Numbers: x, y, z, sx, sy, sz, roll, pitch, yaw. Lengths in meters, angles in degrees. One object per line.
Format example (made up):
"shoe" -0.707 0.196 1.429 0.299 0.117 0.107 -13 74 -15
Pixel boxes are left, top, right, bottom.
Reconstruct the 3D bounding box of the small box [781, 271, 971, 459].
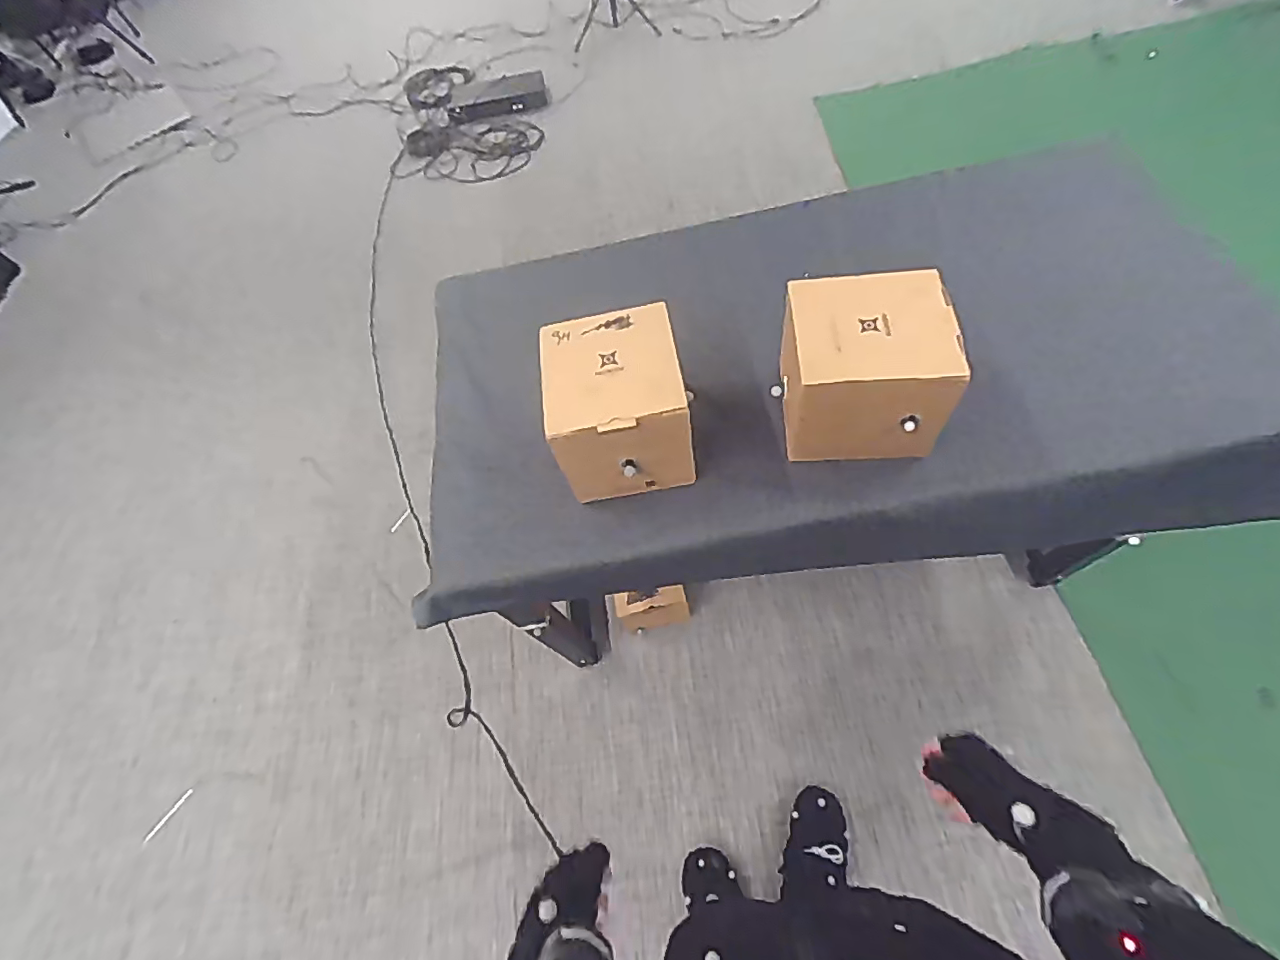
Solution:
"small box" 0.281 -0.137 0.690 0.179 0.176 0.168 -2 61 9

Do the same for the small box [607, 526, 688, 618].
"small box" 0.023 0.240 1.362 0.168 0.176 0.179 -13 61 1

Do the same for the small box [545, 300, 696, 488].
"small box" -0.022 -0.102 0.715 0.168 0.176 0.179 -9 61 3
